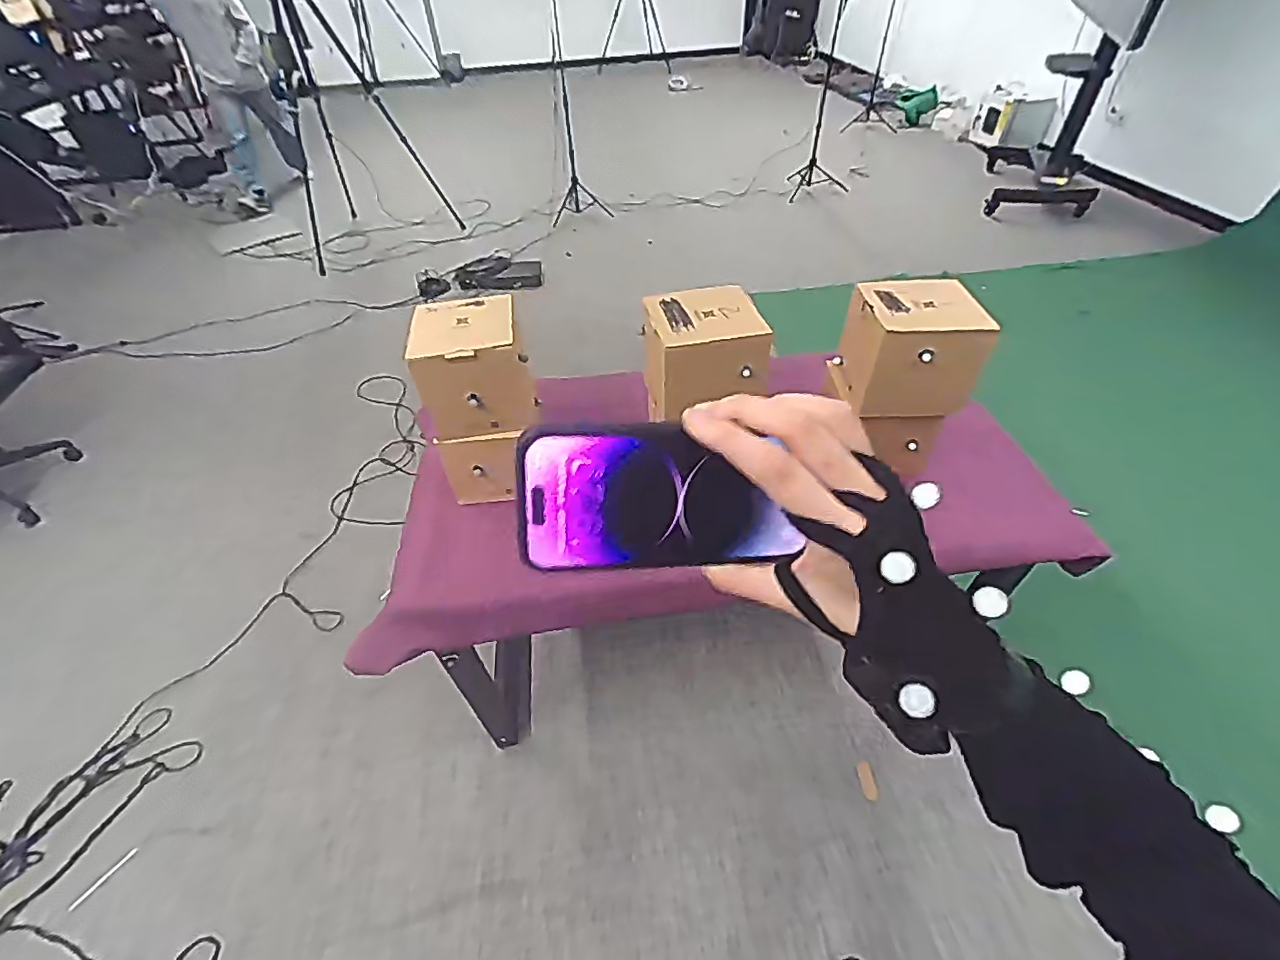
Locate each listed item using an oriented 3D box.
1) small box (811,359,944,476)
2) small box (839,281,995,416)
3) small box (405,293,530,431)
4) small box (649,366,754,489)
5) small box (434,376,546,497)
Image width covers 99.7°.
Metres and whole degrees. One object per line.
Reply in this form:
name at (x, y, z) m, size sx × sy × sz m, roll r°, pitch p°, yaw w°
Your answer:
small box at (0.450, -0.119, 1.054) m, size 0.179 × 0.176 × 0.168 m, roll -1°, pitch 46°, yaw 3°
small box at (0.454, -0.222, 0.926) m, size 0.179 × 0.176 × 0.168 m, roll 0°, pitch 46°, yaw 2°
small box at (-0.288, -0.199, 0.941) m, size 0.168 × 0.176 × 0.179 m, roll -8°, pitch 47°, yaw -6°
small box at (0.110, -0.100, 1.051) m, size 0.179 × 0.176 × 0.168 m, roll -5°, pitch 46°, yaw -2°
small box at (-0.281, -0.079, 1.053) m, size 0.168 × 0.176 × 0.179 m, roll -5°, pitch 46°, yaw -1°
